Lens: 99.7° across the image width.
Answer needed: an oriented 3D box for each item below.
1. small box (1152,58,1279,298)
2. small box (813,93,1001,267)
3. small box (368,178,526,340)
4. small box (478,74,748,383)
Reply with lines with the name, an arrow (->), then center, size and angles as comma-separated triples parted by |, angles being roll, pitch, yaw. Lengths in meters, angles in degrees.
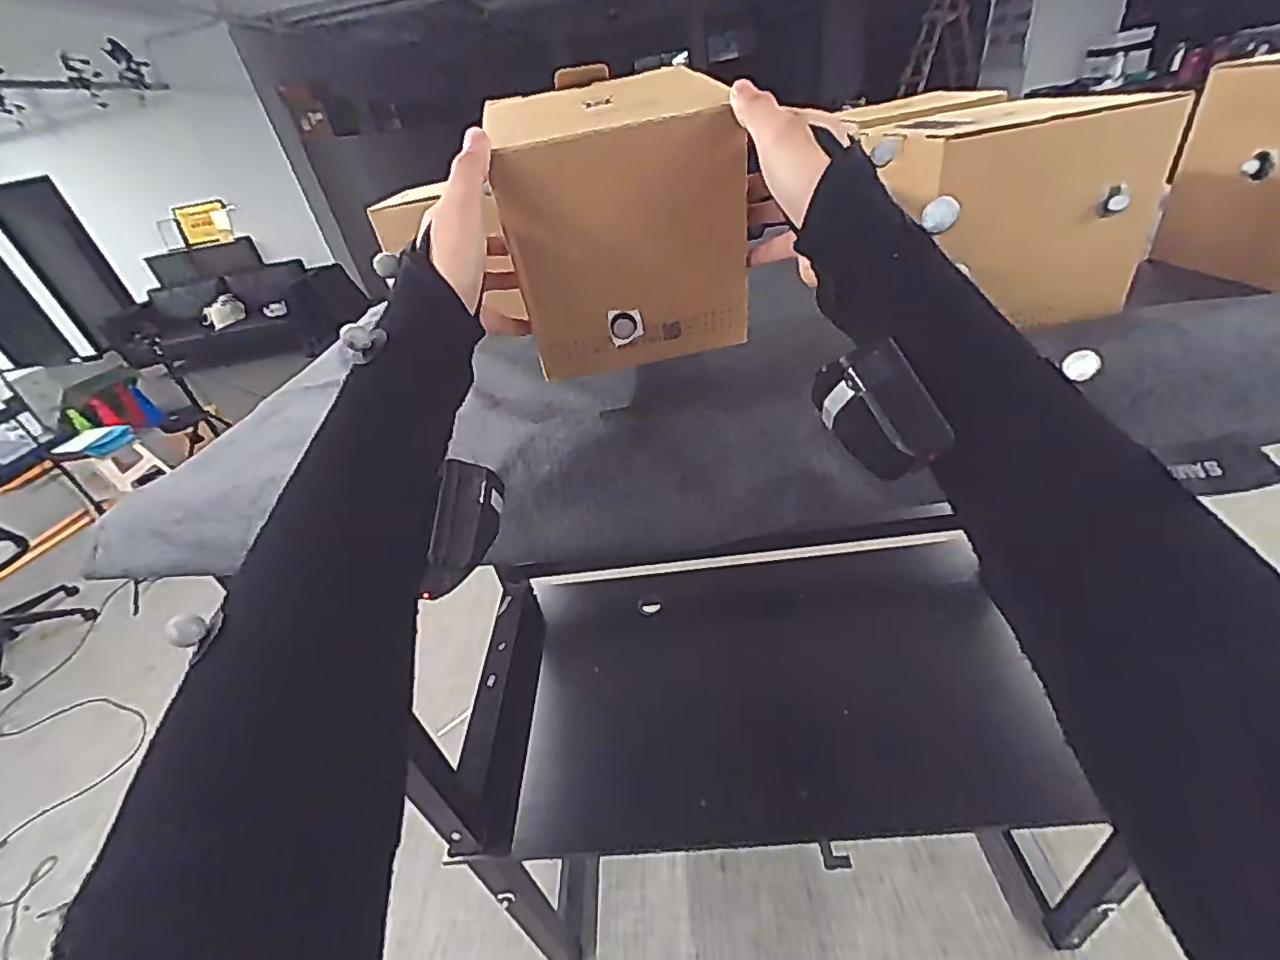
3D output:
small box -> 0.602, -0.260, 0.451 | 0.168, 0.176, 0.179 | -9, 34, 3
small box -> 0.336, -0.395, 0.720 | 0.168, 0.176, 0.179 | -9, 35, 4
small box -> -0.234, -0.312, 0.755 | 0.179, 0.176, 0.168 | -8, 35, 2
small box -> -0.020, -0.203, 0.434 | 0.168, 0.176, 0.179 | -13, 43, -3
